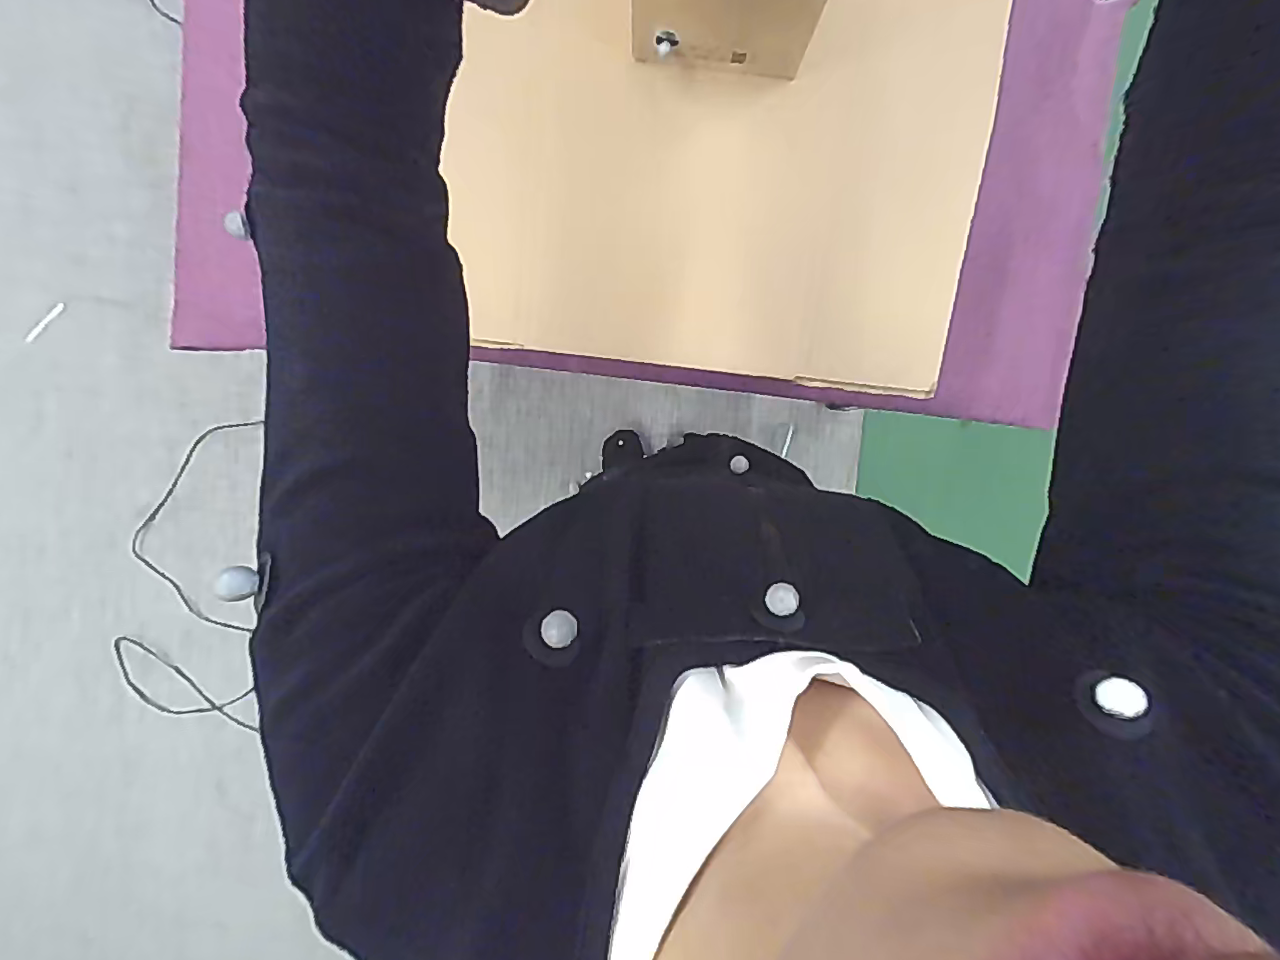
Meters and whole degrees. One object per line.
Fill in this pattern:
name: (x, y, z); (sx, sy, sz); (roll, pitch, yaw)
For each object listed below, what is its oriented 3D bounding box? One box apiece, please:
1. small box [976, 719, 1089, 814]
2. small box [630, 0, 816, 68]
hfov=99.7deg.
small box: (1.063, 0.774, 1.474); (0.179, 0.176, 0.168); (3, 95, -1)
small box: (0.080, -0.495, 0.454); (0.168, 0.176, 0.179); (6, 92, -1)
